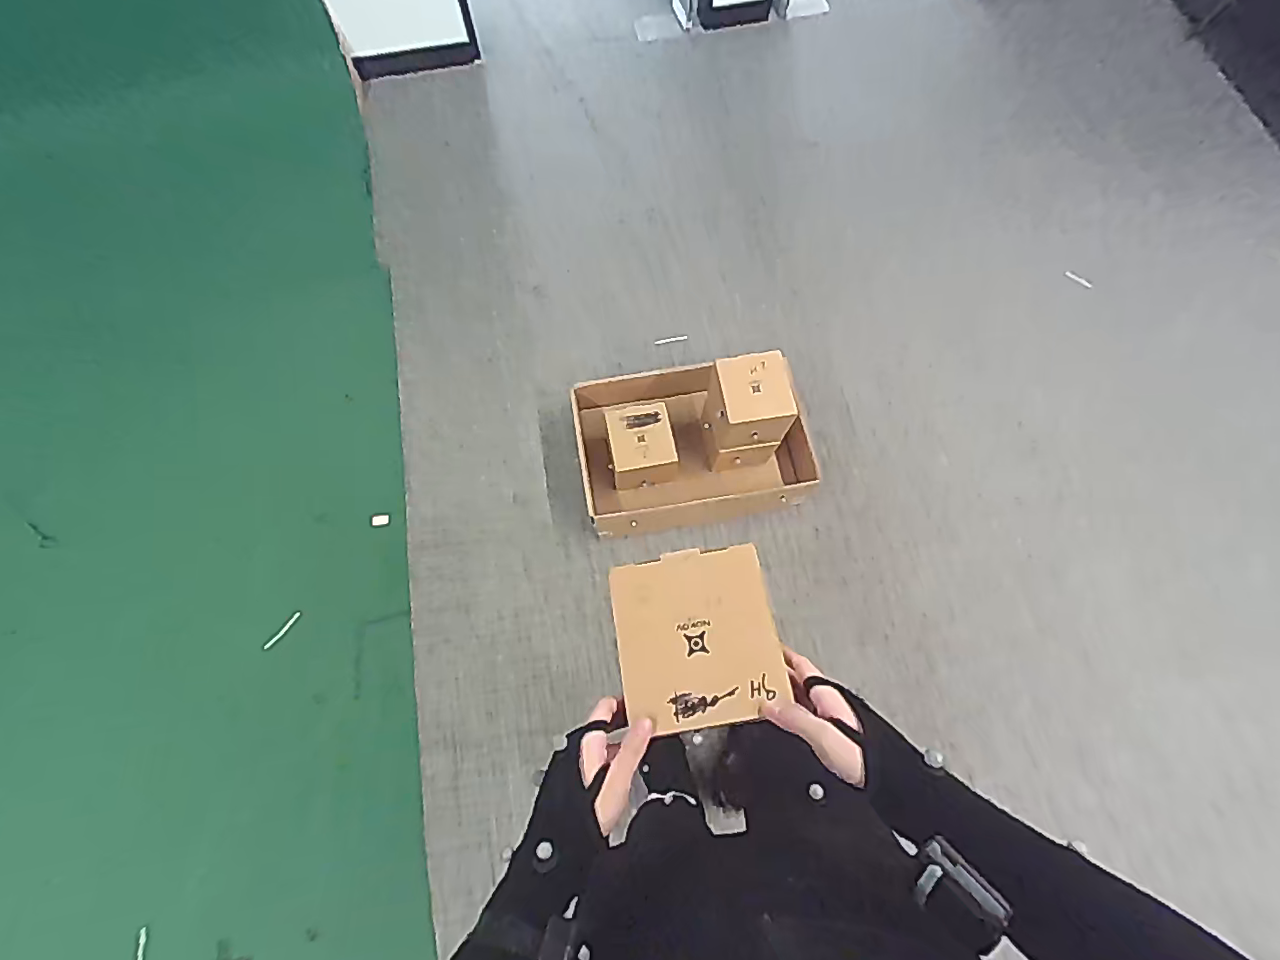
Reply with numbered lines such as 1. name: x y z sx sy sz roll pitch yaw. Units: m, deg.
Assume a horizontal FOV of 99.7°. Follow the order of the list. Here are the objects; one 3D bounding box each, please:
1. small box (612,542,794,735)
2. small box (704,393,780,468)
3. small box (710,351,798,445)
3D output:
1. small box: 0.066 0.192 0.633 0.168 0.176 0.179 -10 64 2
2. small box: 0.278 -0.141 1.508 0.168 0.176 0.179 -9 71 -2
3. small box: 0.278 -0.196 1.352 0.168 0.176 0.179 -8 71 -2
